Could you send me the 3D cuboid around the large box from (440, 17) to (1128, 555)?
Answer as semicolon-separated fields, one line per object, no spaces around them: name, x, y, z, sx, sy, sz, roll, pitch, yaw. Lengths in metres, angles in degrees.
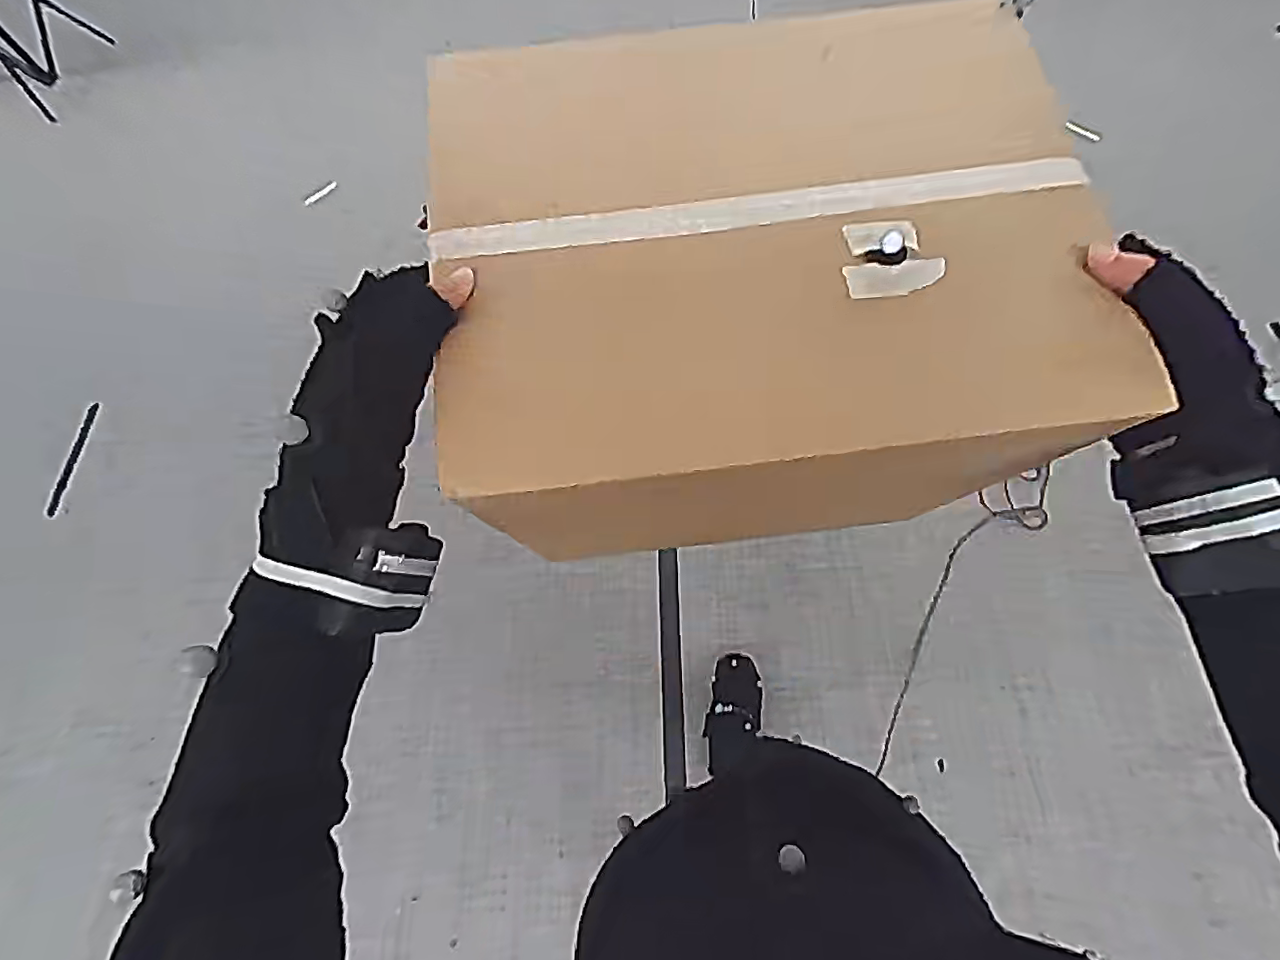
large box;0.074;-0.127;0.495;0.408;0.320;0.320;-7;76;-1
